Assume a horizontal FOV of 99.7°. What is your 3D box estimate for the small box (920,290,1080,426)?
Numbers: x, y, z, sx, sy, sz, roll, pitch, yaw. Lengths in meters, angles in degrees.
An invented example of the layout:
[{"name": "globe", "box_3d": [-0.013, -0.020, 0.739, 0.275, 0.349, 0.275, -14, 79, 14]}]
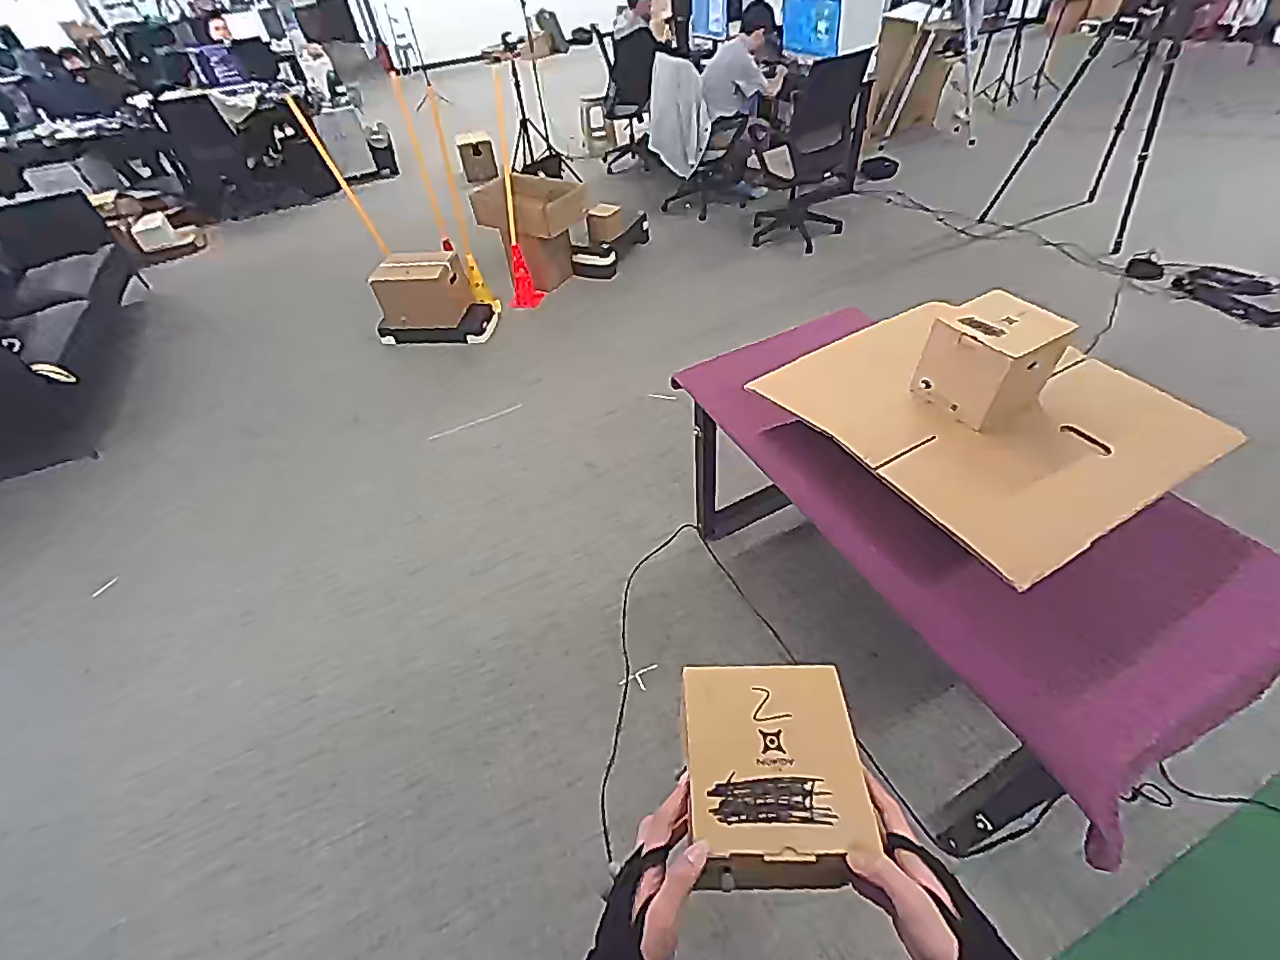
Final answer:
[{"name": "small box", "box_3d": [0.668, -0.230, 1.033, 0.179, 0.176, 0.168, -25, 50, -17]}]
